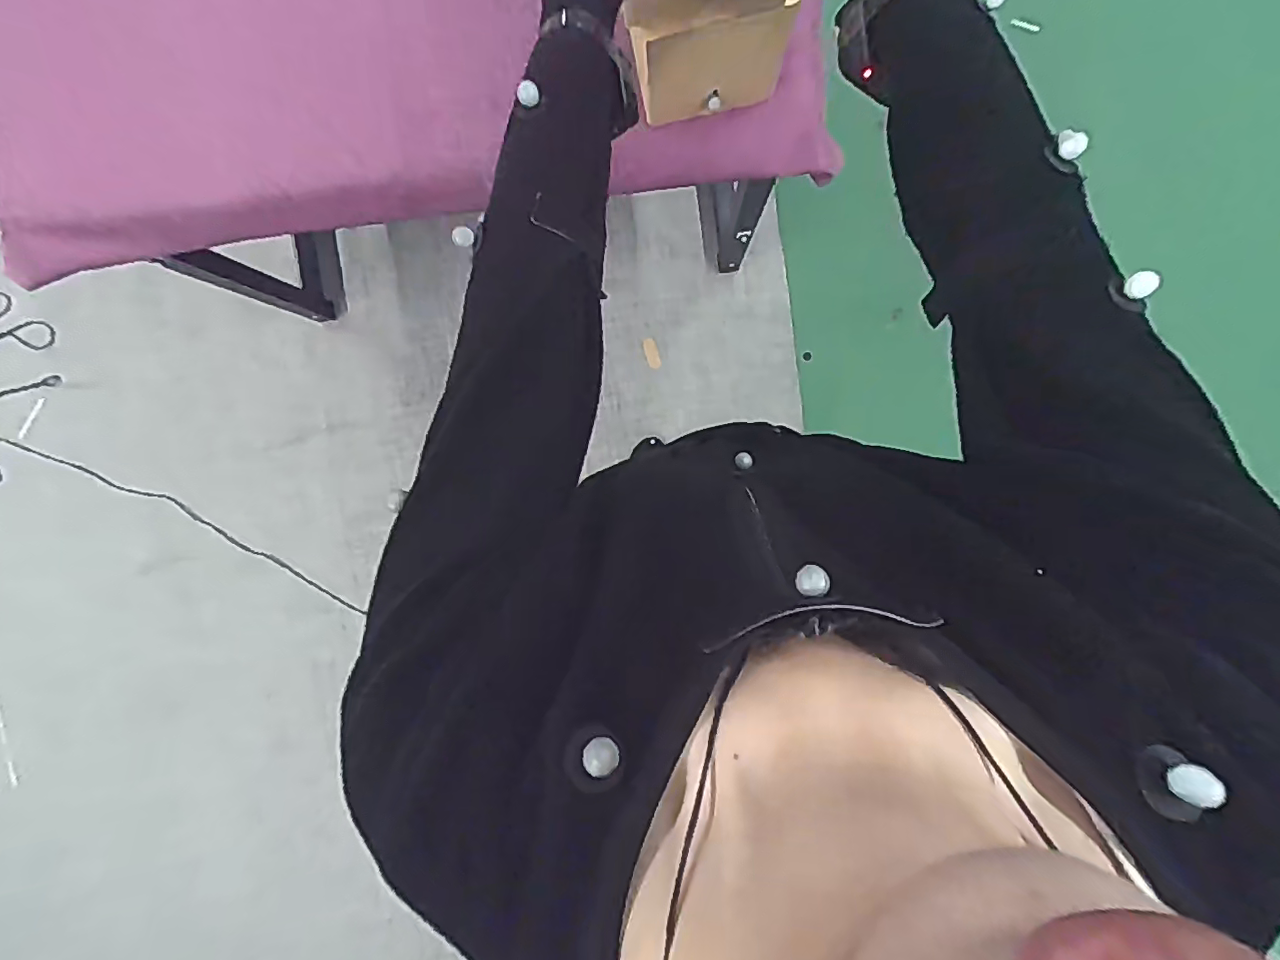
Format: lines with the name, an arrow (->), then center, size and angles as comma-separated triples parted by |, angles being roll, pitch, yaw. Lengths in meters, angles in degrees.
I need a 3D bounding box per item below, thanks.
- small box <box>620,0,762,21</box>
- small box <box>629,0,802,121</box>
small box -> 0.057, -0.576, 0.497 | 0.179, 0.176, 0.168 | -5, 94, 4
small box -> 0.079, -0.581, 0.659 | 0.179, 0.176, 0.168 | -11, 93, 4
